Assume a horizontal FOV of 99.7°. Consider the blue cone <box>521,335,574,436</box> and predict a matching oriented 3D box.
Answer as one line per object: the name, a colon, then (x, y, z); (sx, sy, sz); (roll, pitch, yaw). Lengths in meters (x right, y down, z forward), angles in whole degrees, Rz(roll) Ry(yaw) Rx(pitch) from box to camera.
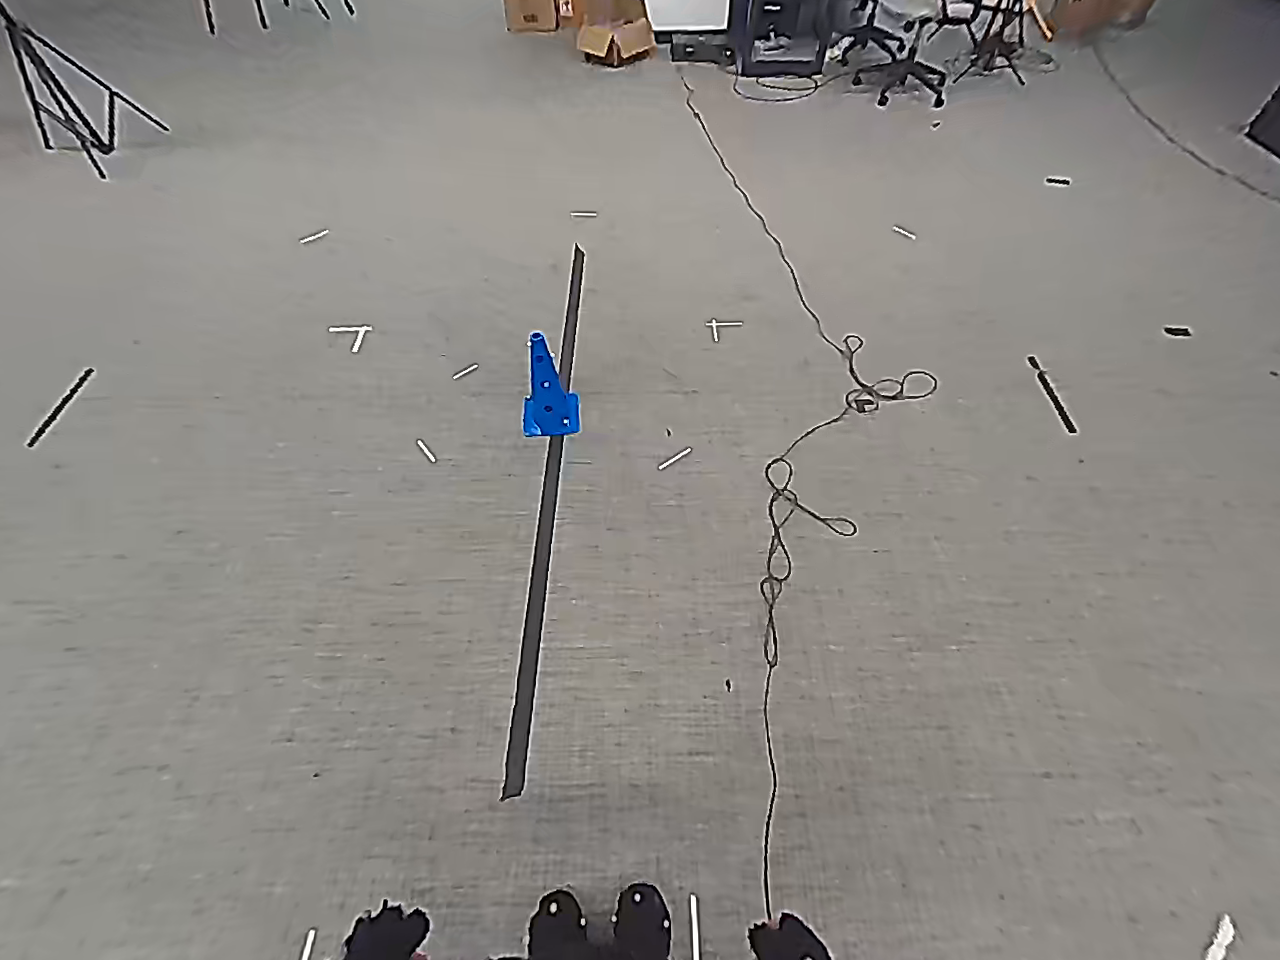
blue cone: (-0.339, -0.333, 1.839); (0.192, 0.380, 0.193); (-3, 53, -2)
